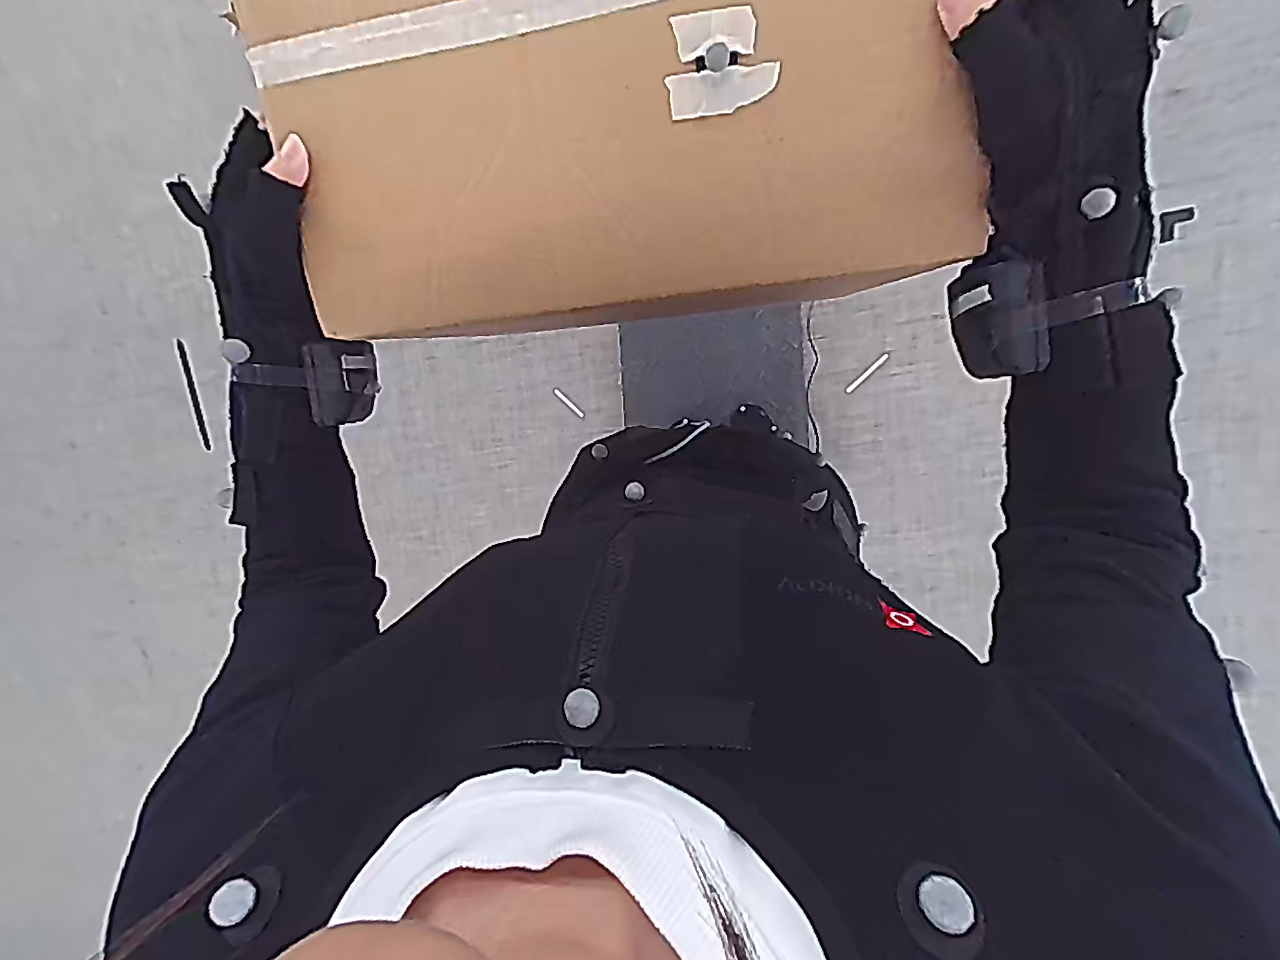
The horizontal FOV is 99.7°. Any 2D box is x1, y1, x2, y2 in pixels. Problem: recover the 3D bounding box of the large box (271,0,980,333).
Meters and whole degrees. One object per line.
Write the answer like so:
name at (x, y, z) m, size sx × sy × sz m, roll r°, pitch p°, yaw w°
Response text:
large box at (-0.005, -0.305, 0.445) m, size 0.408 × 0.320 × 0.320 m, roll -5°, pitch 105°, yaw 9°
